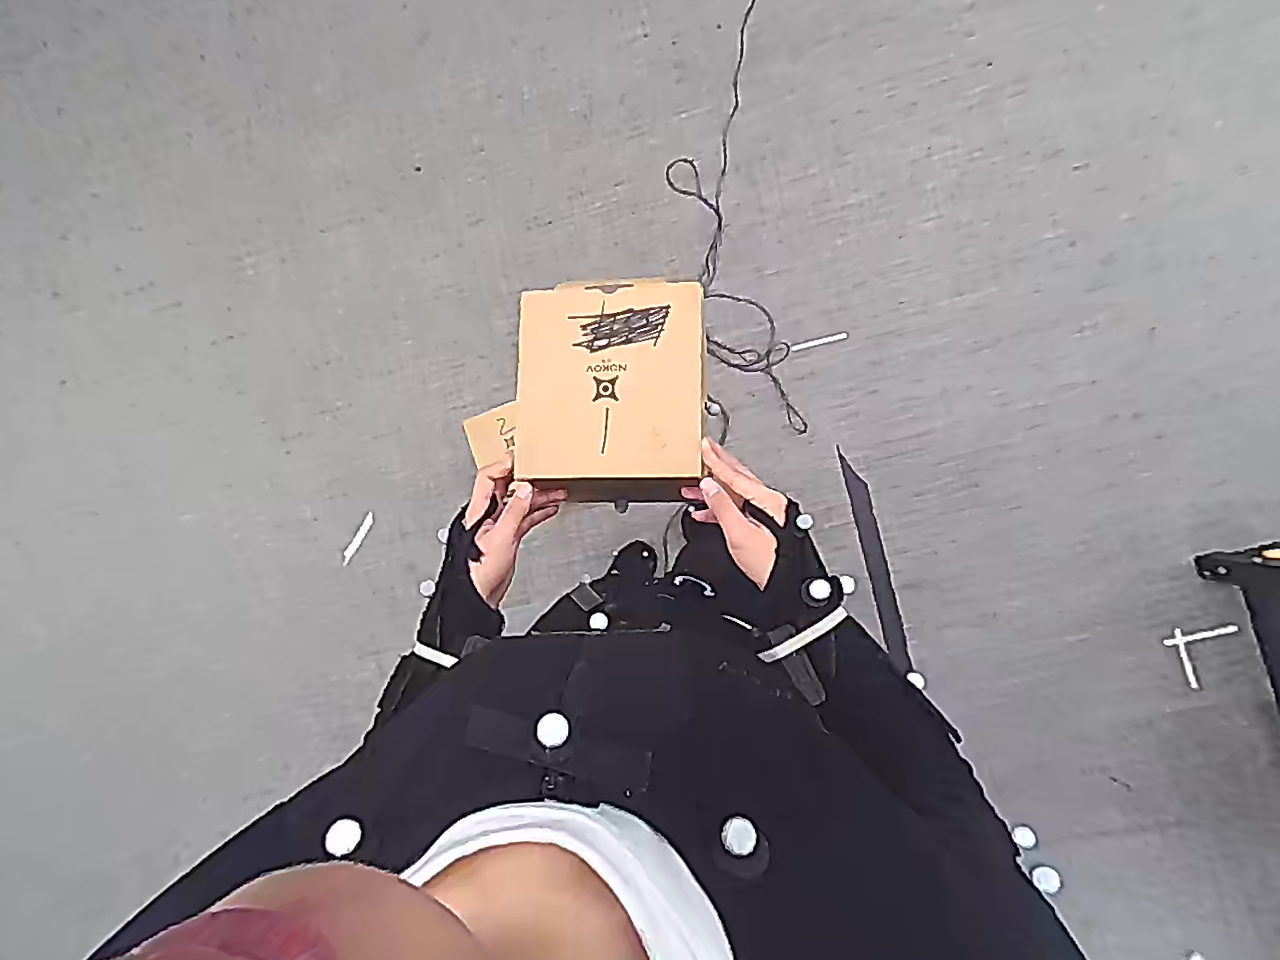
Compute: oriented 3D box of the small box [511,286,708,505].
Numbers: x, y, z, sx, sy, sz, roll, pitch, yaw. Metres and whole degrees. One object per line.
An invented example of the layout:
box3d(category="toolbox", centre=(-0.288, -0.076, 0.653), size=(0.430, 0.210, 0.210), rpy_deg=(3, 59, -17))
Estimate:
box3d(category="small box", centre=(-0.018, -0.073, 0.550), size=(0.168, 0.176, 0.179), rpy_deg=(0, 81, 9))
